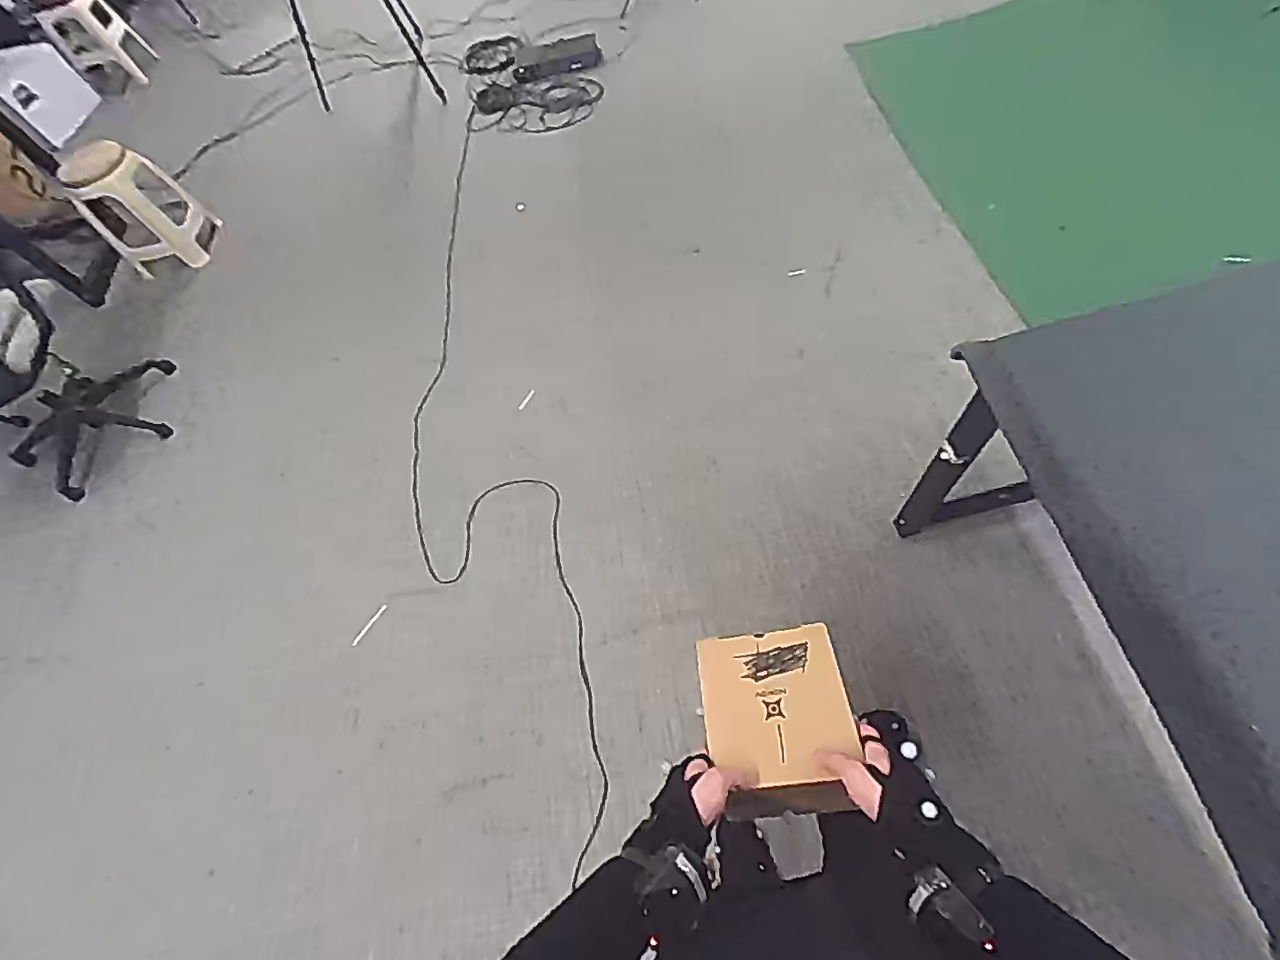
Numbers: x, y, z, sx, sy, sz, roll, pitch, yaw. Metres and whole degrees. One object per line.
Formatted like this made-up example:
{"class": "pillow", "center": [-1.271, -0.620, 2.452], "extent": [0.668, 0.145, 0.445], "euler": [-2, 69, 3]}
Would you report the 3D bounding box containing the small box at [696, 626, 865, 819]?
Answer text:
{"class": "small box", "center": [0.171, 0.313, 0.693], "extent": [0.168, 0.176, 0.179], "euler": [-11, 48, 7]}
